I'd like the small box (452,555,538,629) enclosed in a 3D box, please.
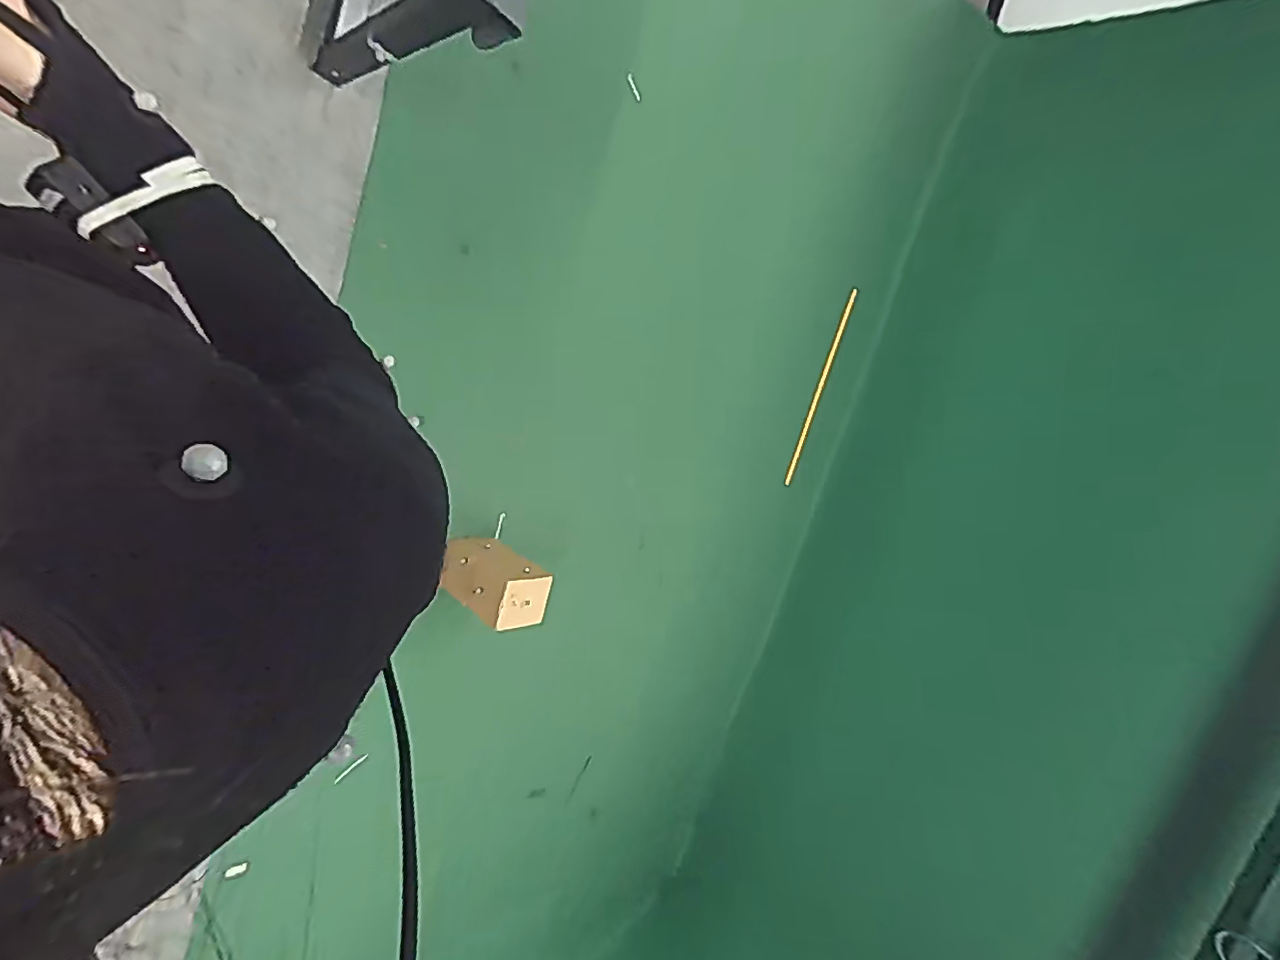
[{"bbox_3d":[-0.457,0.344,1.698,0.179,0.176,0.168,5,104,-51],"label":"small box"}]
